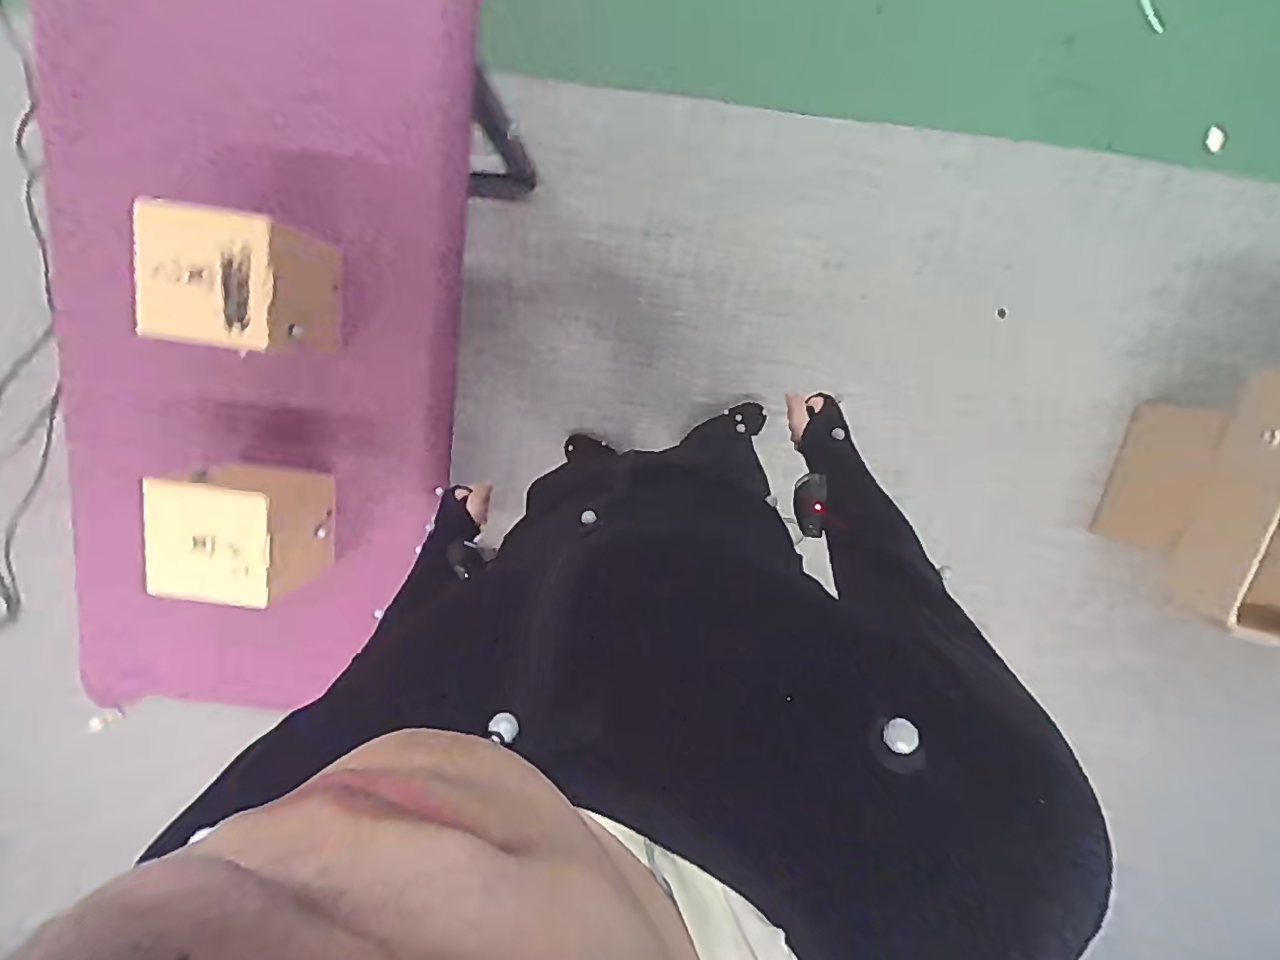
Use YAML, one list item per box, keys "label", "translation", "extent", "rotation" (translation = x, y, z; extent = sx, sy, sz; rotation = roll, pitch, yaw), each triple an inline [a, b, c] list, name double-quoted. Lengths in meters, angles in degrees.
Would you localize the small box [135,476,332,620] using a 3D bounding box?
- label: "small box"
  translation: [-0.605, 0.092, 0.821]
  extent: [0.179, 0.176, 0.168]
  rotation: [7, 100, -1]
